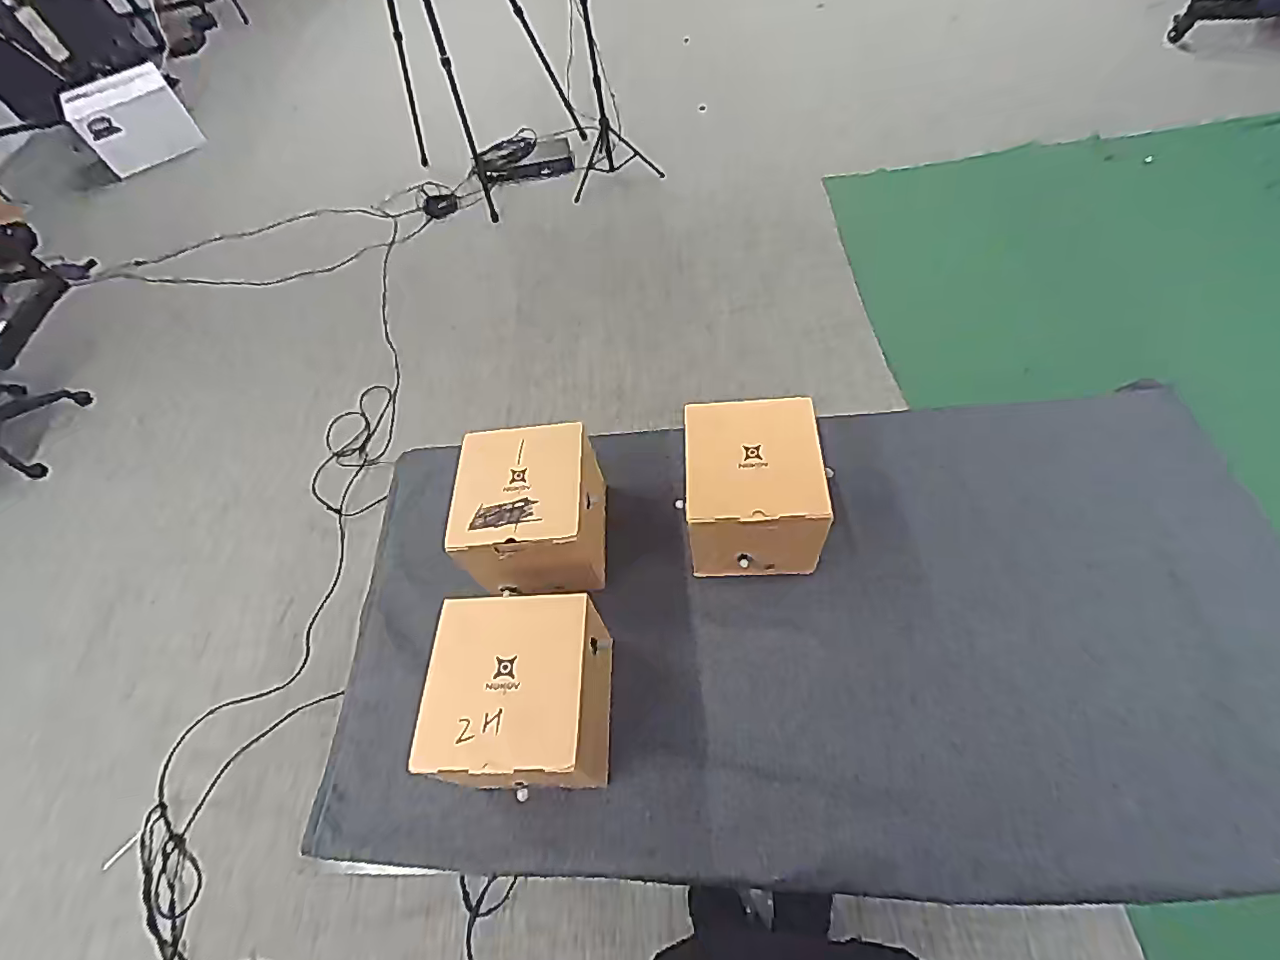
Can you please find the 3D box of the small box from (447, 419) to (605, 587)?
[{"bbox_3d":[-0.143,0.041,0.747,0.168,0.176,0.179,-5,58,5],"label":"small box"}]

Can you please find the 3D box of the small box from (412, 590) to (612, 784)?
[{"bbox_3d":[-0.128,0.241,0.620,0.168,0.176,0.179,-3,57,6],"label":"small box"}]

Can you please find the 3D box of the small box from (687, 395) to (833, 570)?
[{"bbox_3d":[0.148,0.009,0.728,0.168,0.176,0.179,-3,59,7],"label":"small box"}]
